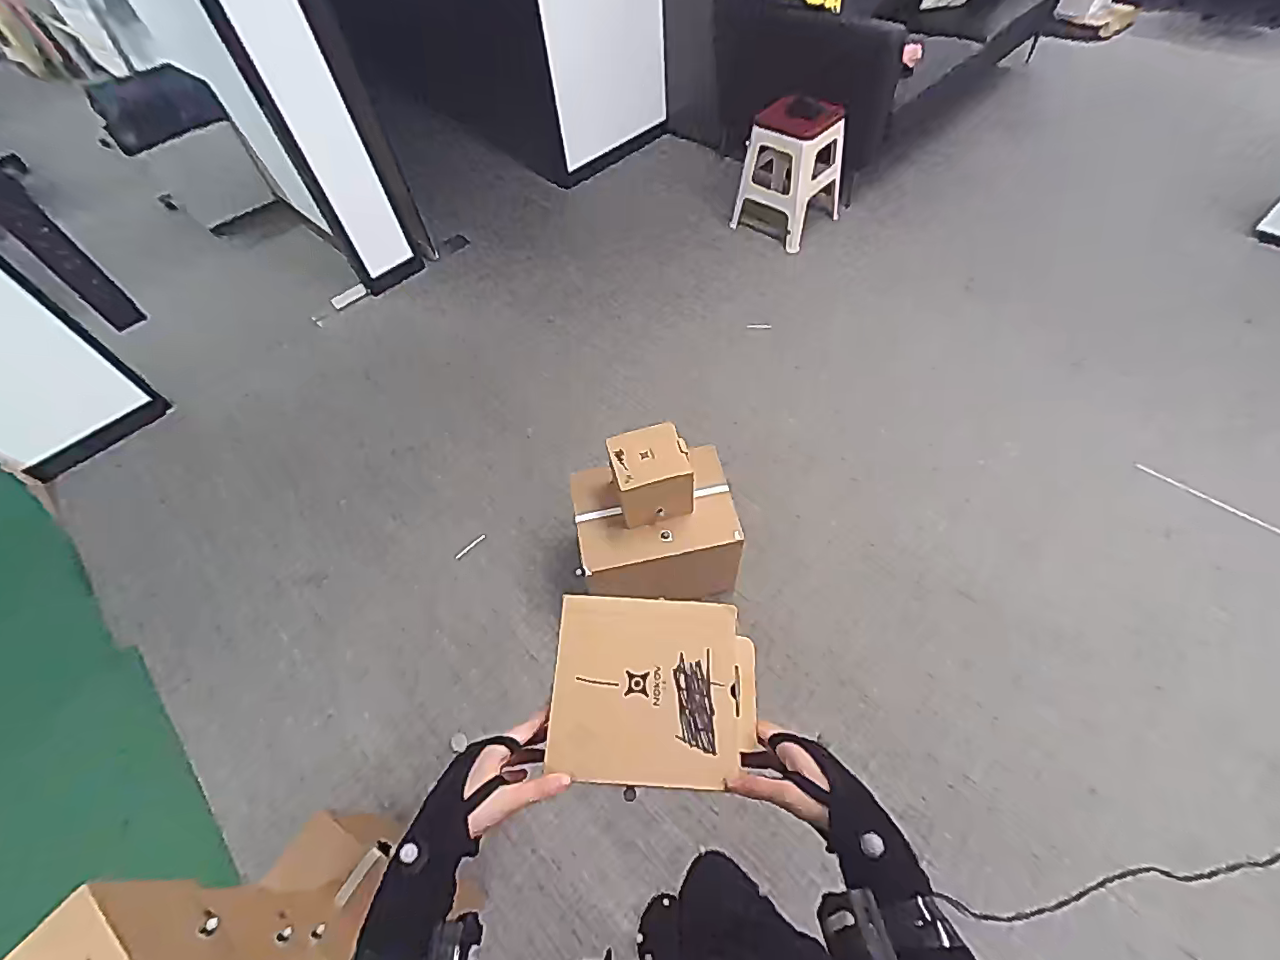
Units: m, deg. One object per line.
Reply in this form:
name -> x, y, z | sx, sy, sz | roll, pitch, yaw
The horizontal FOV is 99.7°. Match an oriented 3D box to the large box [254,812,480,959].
large box -> -0.581, 0.920, 1.022 | 0.320, 0.320, 0.408 | 24, 61, 21

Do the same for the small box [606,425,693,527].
small box -> 0.022, -0.007, 1.330 | 0.179, 0.176, 0.168 | -14, 53, -7

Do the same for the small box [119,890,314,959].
small box -> -0.569, 0.673, 0.695 | 0.168, 0.176, 0.179 | 31, 62, 23

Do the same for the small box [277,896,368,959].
small box -> -0.556, 0.772, 0.823 | 0.179, 0.176, 0.168 | 30, 61, 22

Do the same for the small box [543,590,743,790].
small box -> 0.005, 0.225, 0.572 | 0.179, 0.176, 0.168 | 4, 62, 1
